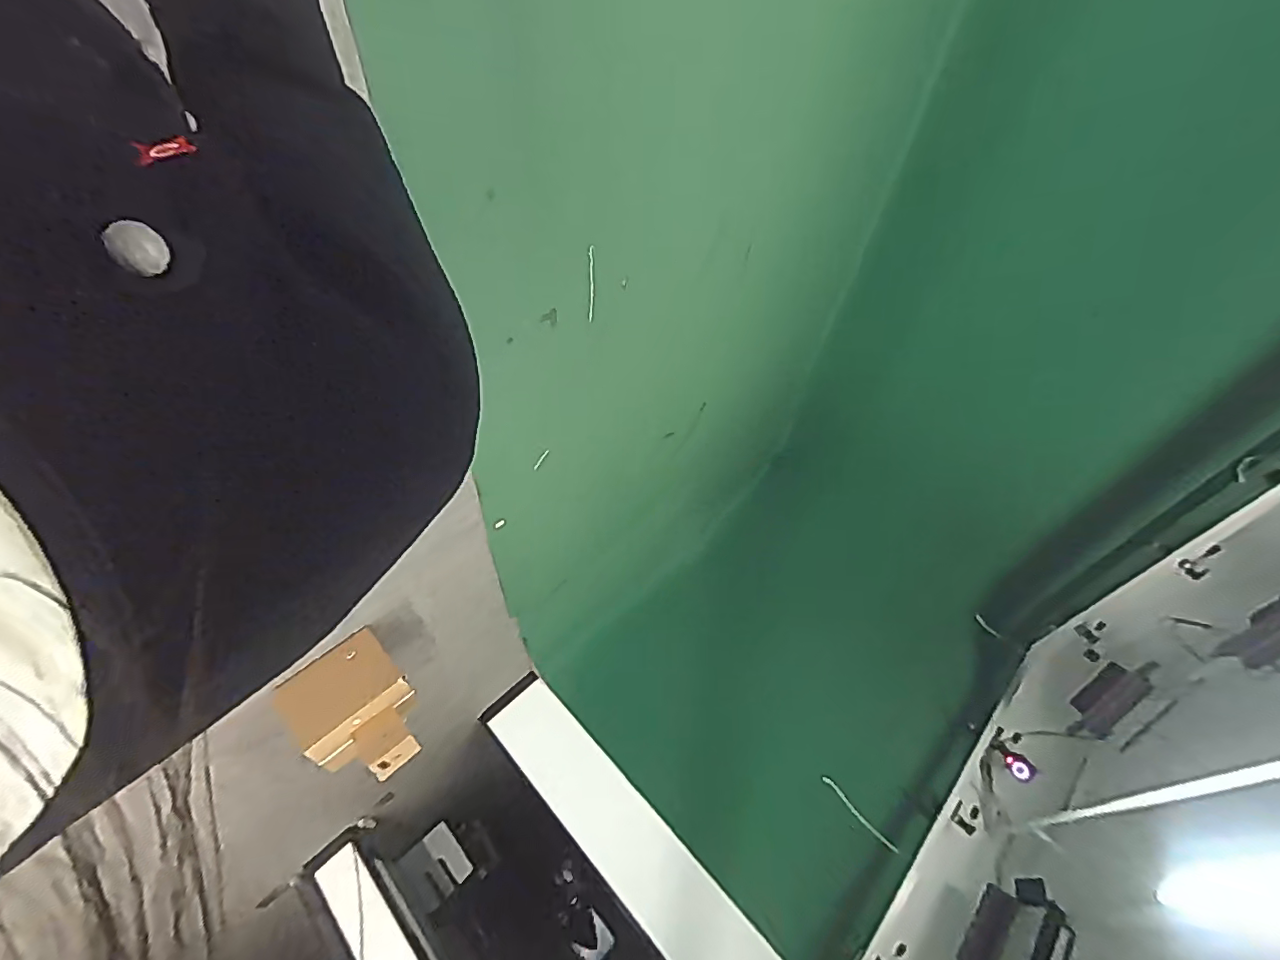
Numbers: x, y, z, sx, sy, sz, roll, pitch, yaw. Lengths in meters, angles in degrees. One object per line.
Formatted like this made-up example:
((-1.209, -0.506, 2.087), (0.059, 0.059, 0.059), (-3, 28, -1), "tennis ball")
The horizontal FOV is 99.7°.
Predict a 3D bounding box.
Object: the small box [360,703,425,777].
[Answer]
((-1.006, 1.045, 2.184), (0.179, 0.176, 0.168), (-33, 145, -34), "small box")
